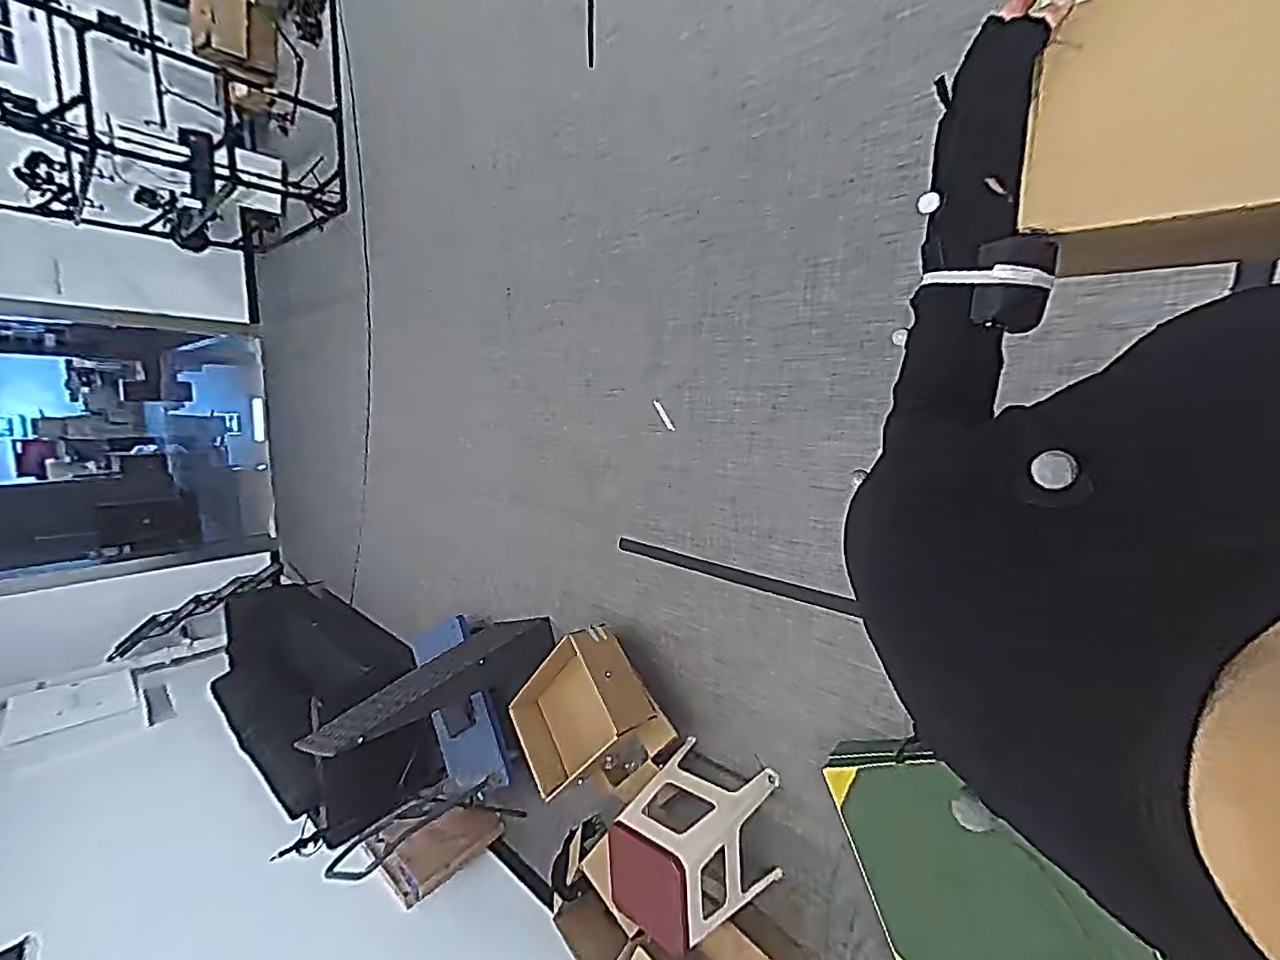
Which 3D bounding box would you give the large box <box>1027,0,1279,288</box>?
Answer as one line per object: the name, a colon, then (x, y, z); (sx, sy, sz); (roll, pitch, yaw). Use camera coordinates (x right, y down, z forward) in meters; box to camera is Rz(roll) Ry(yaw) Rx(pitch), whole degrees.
large box: (0.542, -0.335, 0.382); (0.408, 0.320, 0.320); (8, 106, 39)
